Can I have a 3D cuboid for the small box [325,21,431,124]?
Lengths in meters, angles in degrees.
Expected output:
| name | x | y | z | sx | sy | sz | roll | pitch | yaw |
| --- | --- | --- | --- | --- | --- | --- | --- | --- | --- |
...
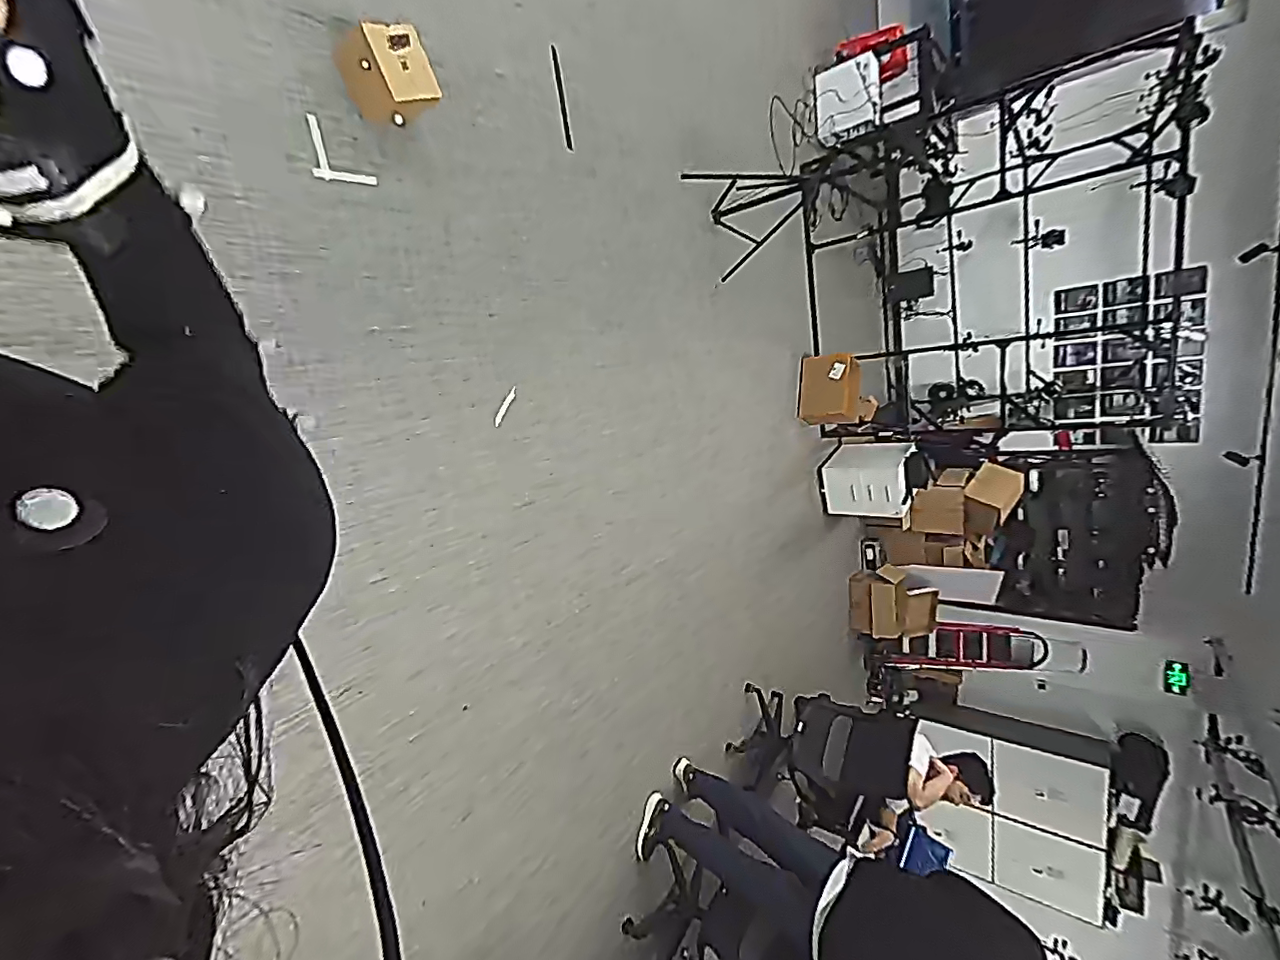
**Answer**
| name | x | y | z | sx | sy | sz | roll | pitch | yaw |
| --- | --- | --- | --- | --- | --- | --- | --- | --- | --- |
| small box | -0.723 | -1.116 | 1.489 | 0.168 | 0.176 | 0.179 | -45 | 125 | -42 |
